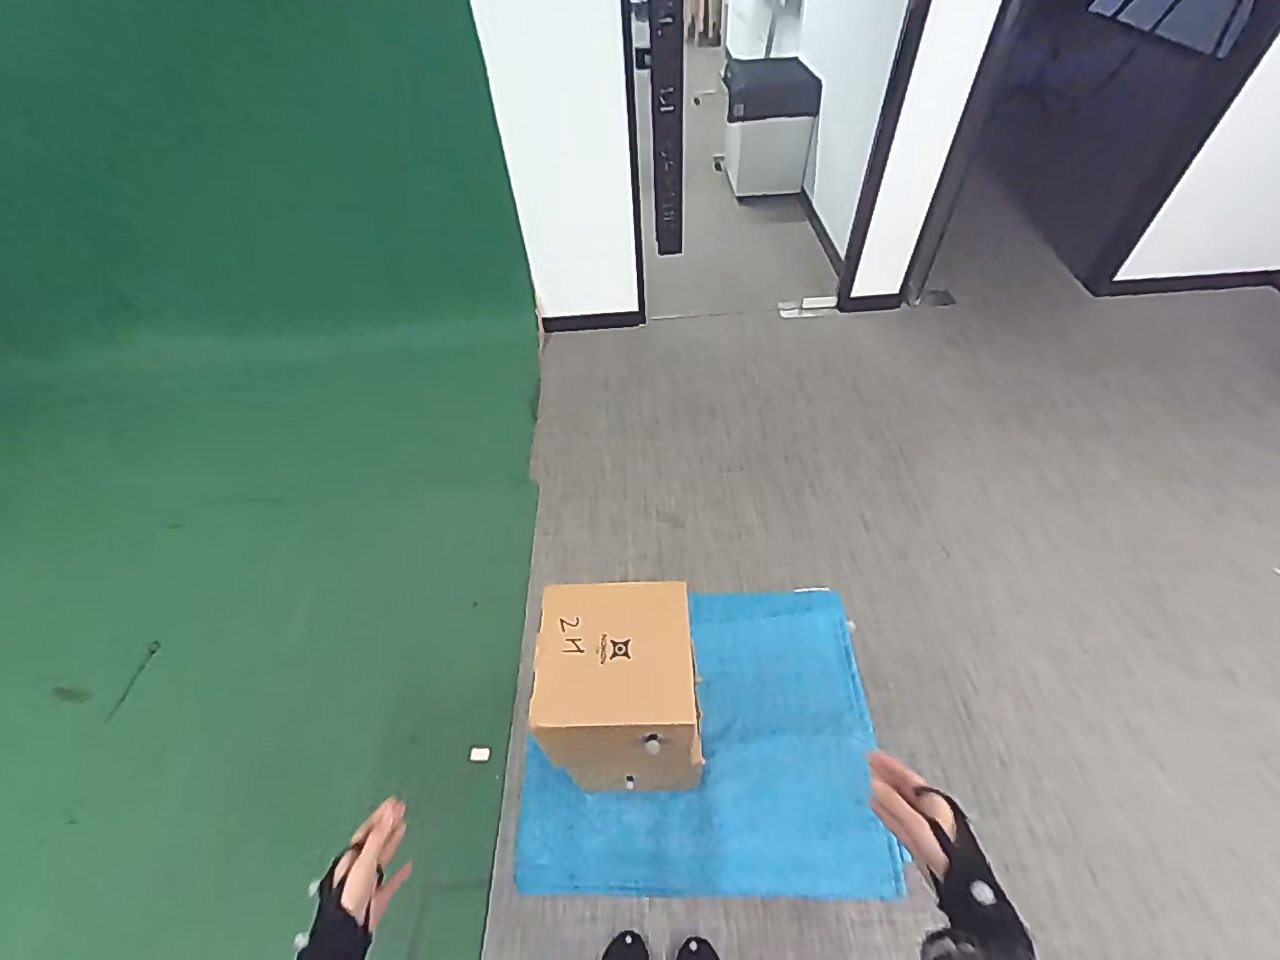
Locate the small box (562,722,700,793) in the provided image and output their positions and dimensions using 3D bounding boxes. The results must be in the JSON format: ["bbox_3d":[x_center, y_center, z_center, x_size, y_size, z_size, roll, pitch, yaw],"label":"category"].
[{"bbox_3d":[-0.009,0.341,0.780,0.179,0.176,0.168,-2,49,2],"label":"small box"}]

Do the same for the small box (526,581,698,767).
[{"bbox_3d":[-0.026,0.236,0.654,0.179,0.176,0.168,-2,49,2],"label":"small box"}]
